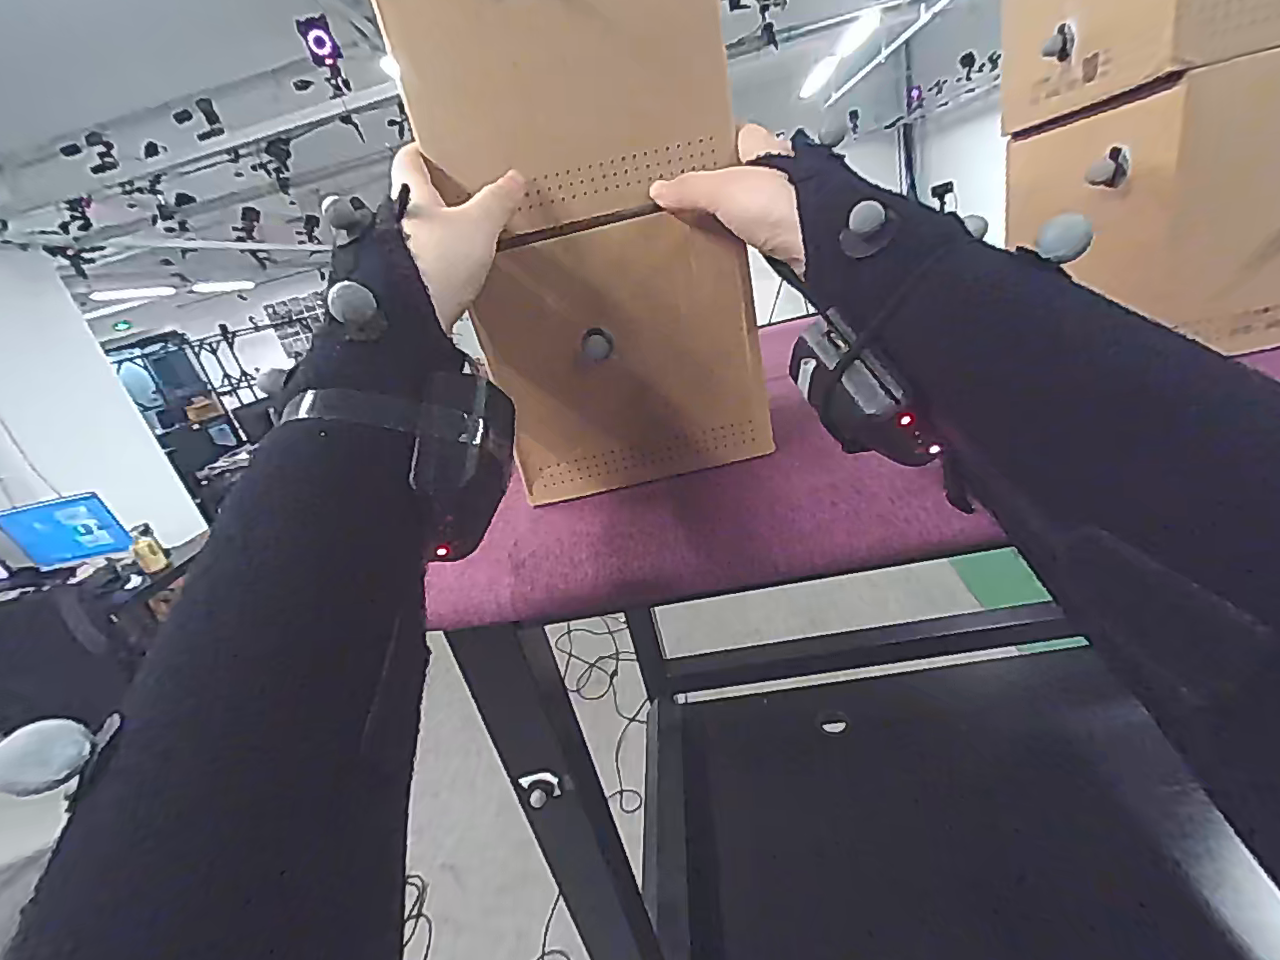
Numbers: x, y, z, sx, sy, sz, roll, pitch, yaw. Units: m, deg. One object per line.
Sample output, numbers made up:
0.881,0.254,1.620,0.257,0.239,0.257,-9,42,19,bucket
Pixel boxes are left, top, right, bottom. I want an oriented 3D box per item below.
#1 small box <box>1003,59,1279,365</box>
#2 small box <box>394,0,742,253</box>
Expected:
0.397,-0.189,0.393,0.168,0.176,0.179,-10,22,7,small box
-0.044,-0.255,0.362,0.179,0.176,0.168,-12,22,-1,small box
